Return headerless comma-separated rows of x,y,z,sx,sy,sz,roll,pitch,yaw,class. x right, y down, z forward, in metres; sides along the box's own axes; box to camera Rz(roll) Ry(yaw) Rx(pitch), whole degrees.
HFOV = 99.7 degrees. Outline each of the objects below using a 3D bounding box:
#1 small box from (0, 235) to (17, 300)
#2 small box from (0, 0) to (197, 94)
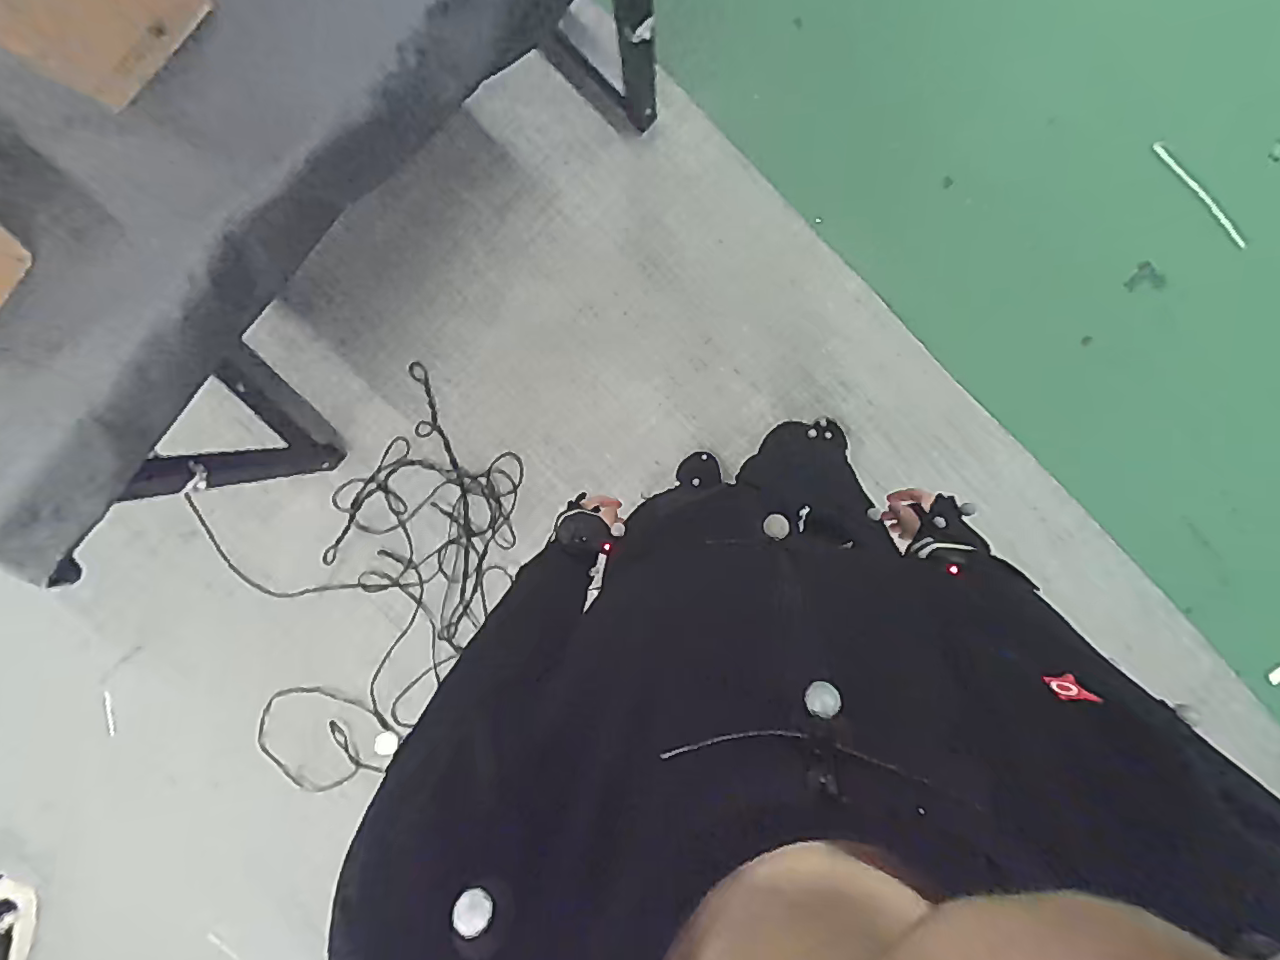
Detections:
-0.820,-0.235,0.546,0.168,0.176,0.179,43,96,-2,small box
-0.584,-0.513,0.505,0.168,0.176,0.179,-42,92,5,small box
